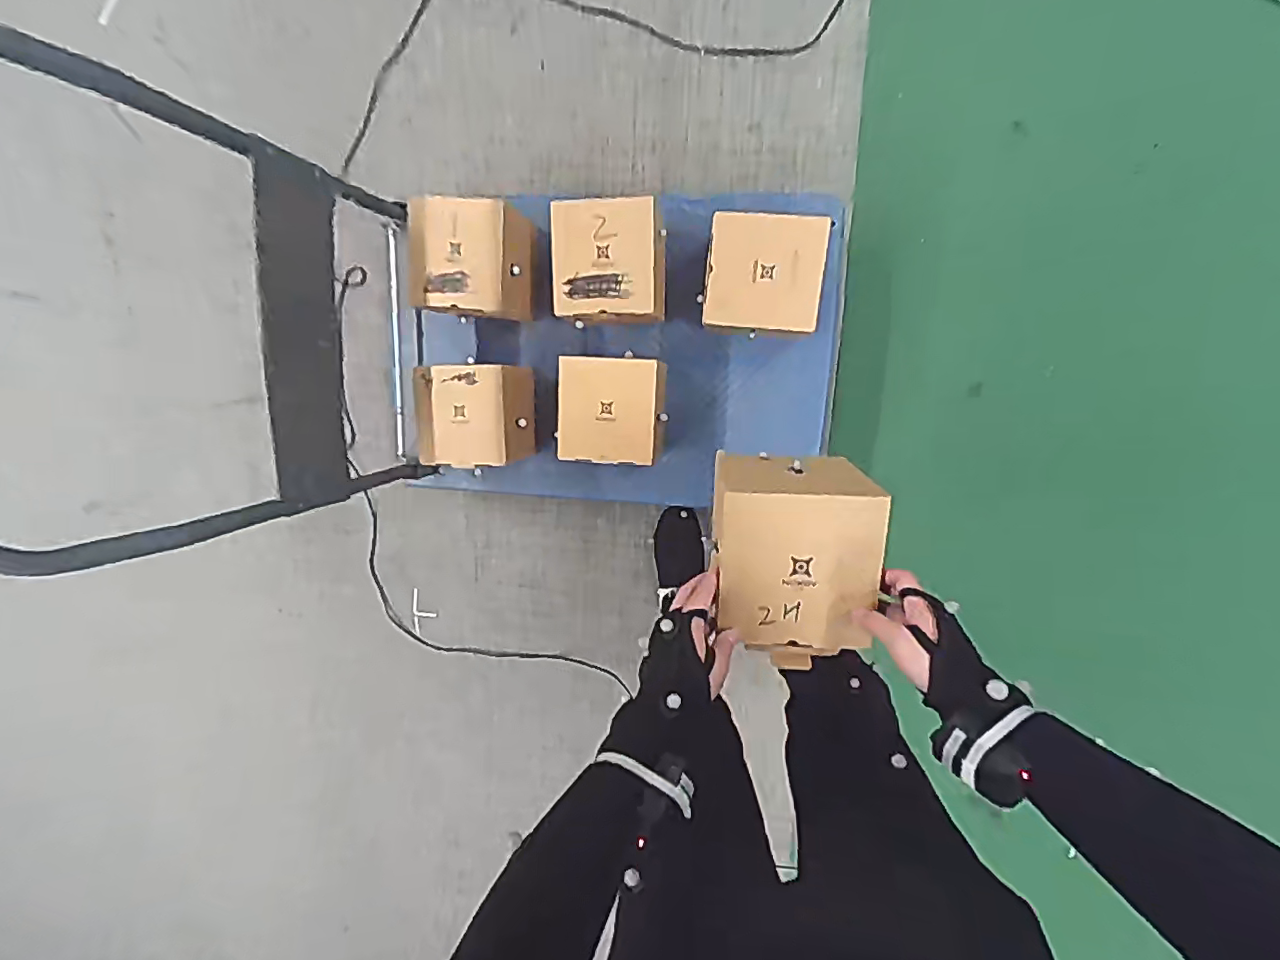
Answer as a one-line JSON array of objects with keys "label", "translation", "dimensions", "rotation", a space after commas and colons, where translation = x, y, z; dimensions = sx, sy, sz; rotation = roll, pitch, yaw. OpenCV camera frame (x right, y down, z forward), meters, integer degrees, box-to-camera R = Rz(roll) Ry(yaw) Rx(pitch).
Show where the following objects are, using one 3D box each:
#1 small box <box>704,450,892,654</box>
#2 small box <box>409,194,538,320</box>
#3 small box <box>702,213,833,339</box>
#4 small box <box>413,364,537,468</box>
[{"label": "small box", "translation": [0.170, 0.072, 0.642], "dimensions": [0.168, 0.176, 0.179], "rotation": [9, 108, 5]}, {"label": "small box", "translation": [-0.287, -0.384, 0.958], "dimensions": [0.168, 0.176, 0.179], "rotation": [6, 101, 7]}, {"label": "small box", "translation": [0.203, -0.328, 0.896], "dimensions": [0.179, 0.176, 0.168], "rotation": [7, 103, 7]}, {"label": "small box", "translation": [-0.297, -0.125, 1.008], "dimensions": [0.168, 0.176, 0.179], "rotation": [2, 101, 8]}]
